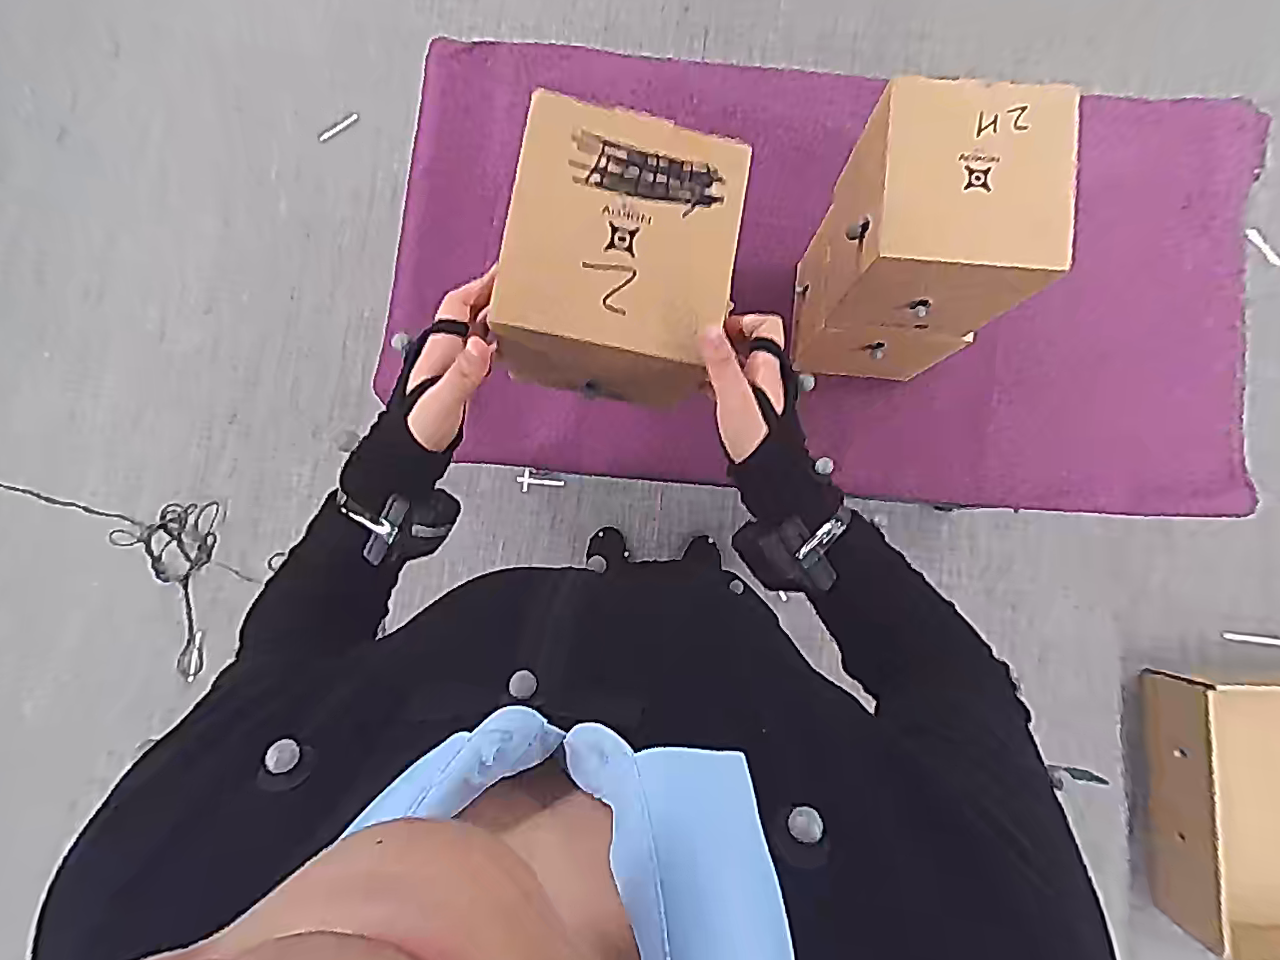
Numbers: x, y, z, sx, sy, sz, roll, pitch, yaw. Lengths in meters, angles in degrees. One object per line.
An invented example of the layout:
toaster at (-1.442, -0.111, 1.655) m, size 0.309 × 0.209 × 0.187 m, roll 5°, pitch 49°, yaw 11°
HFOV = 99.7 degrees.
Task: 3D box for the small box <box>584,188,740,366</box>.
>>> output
small box at (0.030, -0.262, 0.732) m, size 0.179 × 0.176 × 0.168 m, roll 6°, pitch 85°, yaw 1°

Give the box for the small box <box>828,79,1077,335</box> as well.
small box at (0.304, -0.265, 0.560) m, size 0.168 × 0.176 × 0.179 m, roll 6°, pitch 84°, yaw 3°

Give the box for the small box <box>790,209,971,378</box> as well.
small box at (0.314, -0.241, 0.724) m, size 0.179 × 0.176 × 0.168 m, roll 6°, pitch 85°, yaw 3°
